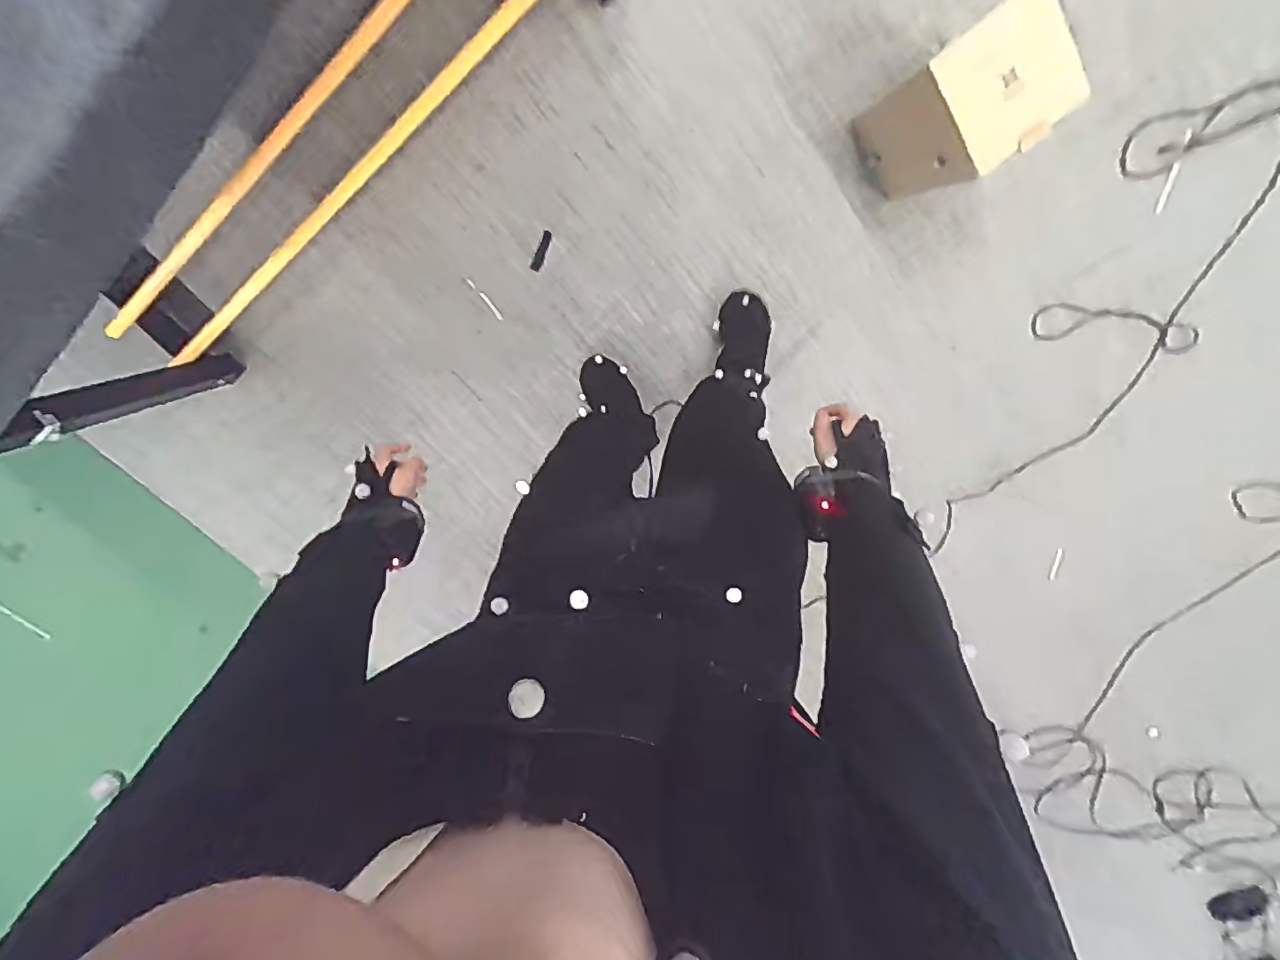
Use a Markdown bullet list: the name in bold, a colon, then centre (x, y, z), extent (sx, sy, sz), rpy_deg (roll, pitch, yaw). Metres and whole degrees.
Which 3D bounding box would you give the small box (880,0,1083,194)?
- **small box**: centre (0.503, -0.562, 0.820), extent (0.168, 0.176, 0.179), rpy_deg (-35, 106, 13)

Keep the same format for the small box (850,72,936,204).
- **small box**: centre (0.512, -0.623, 0.971), extent (0.168, 0.176, 0.179), rpy_deg (-33, 109, 13)
